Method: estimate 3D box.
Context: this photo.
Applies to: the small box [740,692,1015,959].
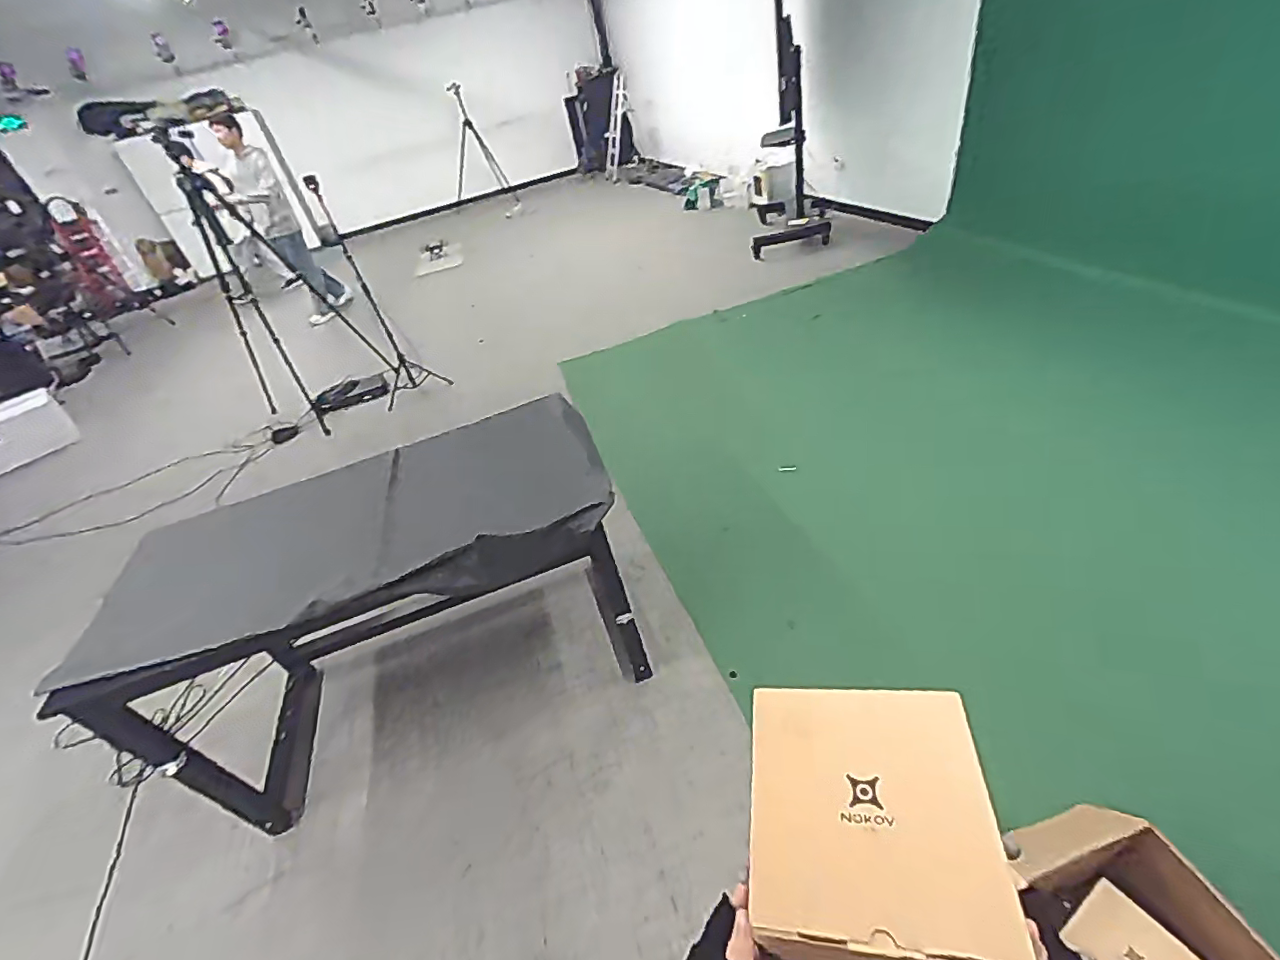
[{"bbox_3d":[0.180,0.303,0.452,0.168,0.176,0.179,-6,38,17],"label":"small box"}]
